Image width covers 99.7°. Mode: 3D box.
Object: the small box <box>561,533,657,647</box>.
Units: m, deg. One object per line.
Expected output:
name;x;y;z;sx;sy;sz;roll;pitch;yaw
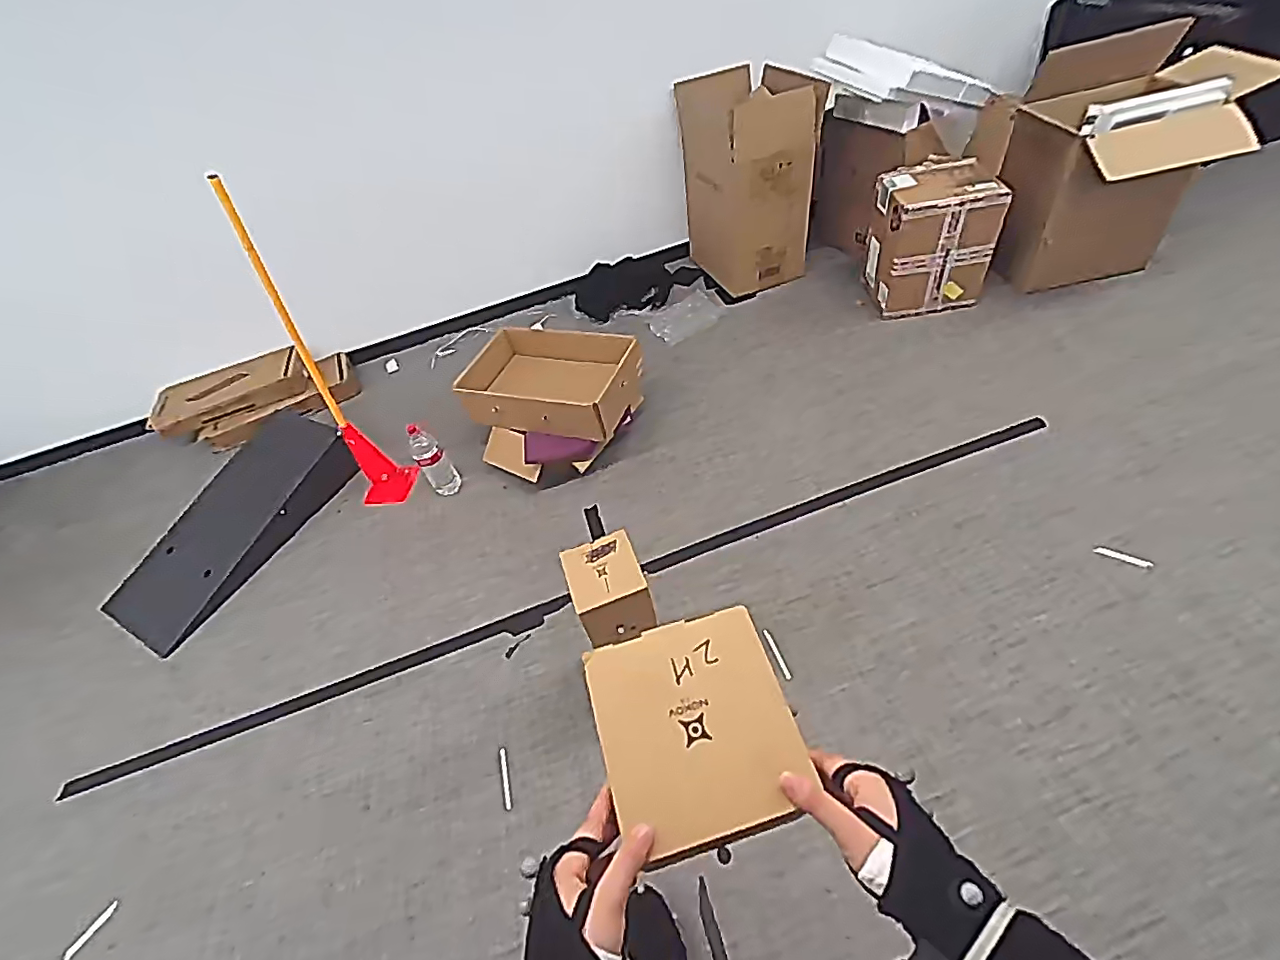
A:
small box;-0.072;0.262;1.276;0.168;0.176;0.179;-21;47;-6

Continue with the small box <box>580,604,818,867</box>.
small box;0.051;0.254;0.533;0.168;0.176;0.179;-16;53;-6
